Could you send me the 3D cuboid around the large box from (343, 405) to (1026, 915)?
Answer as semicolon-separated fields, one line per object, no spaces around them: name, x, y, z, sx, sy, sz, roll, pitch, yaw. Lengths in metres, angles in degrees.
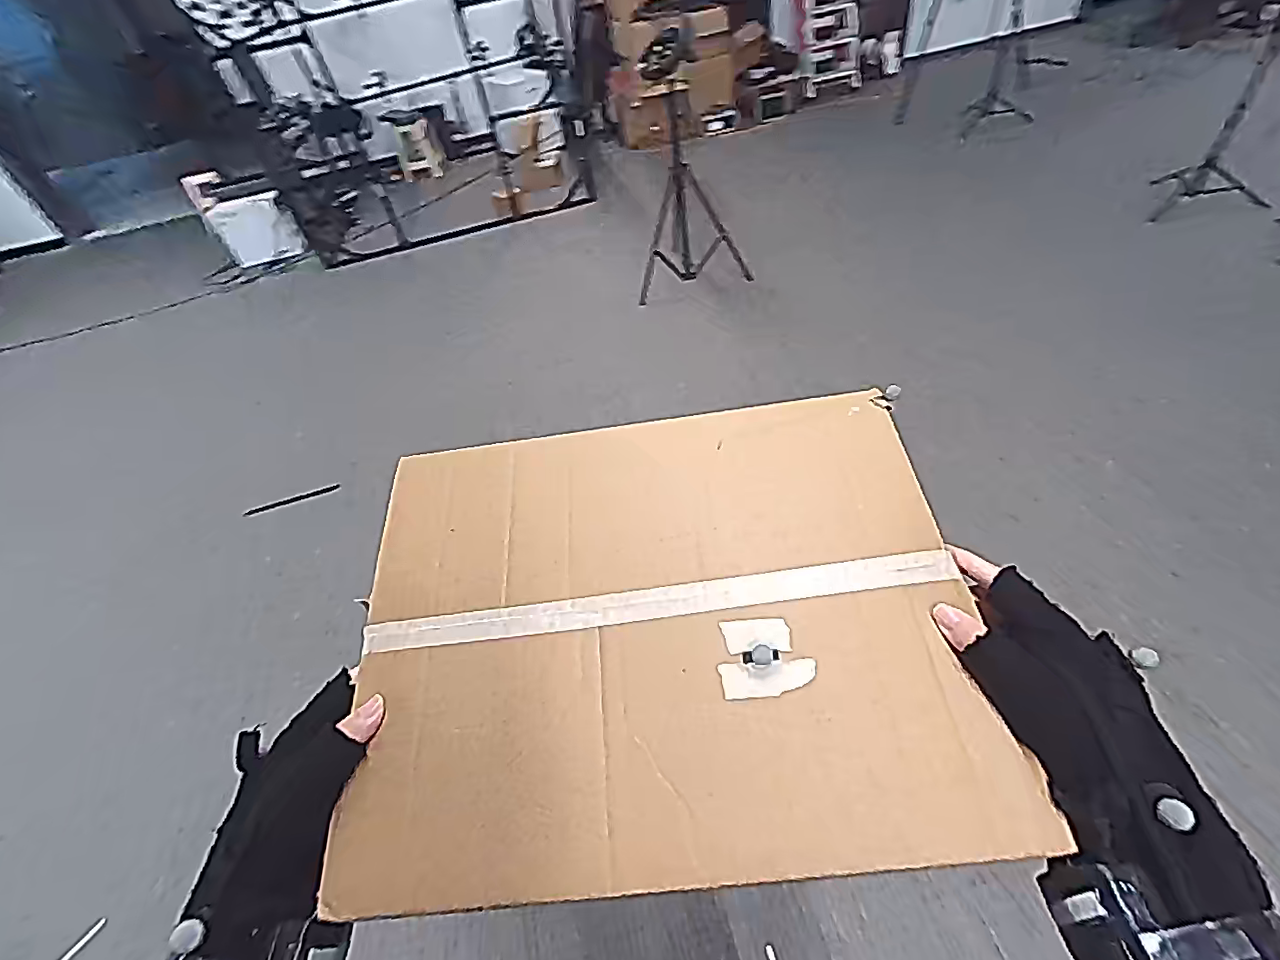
large box;0.021;0.172;0.511;0.408;0.320;0.320;-8;58;2
